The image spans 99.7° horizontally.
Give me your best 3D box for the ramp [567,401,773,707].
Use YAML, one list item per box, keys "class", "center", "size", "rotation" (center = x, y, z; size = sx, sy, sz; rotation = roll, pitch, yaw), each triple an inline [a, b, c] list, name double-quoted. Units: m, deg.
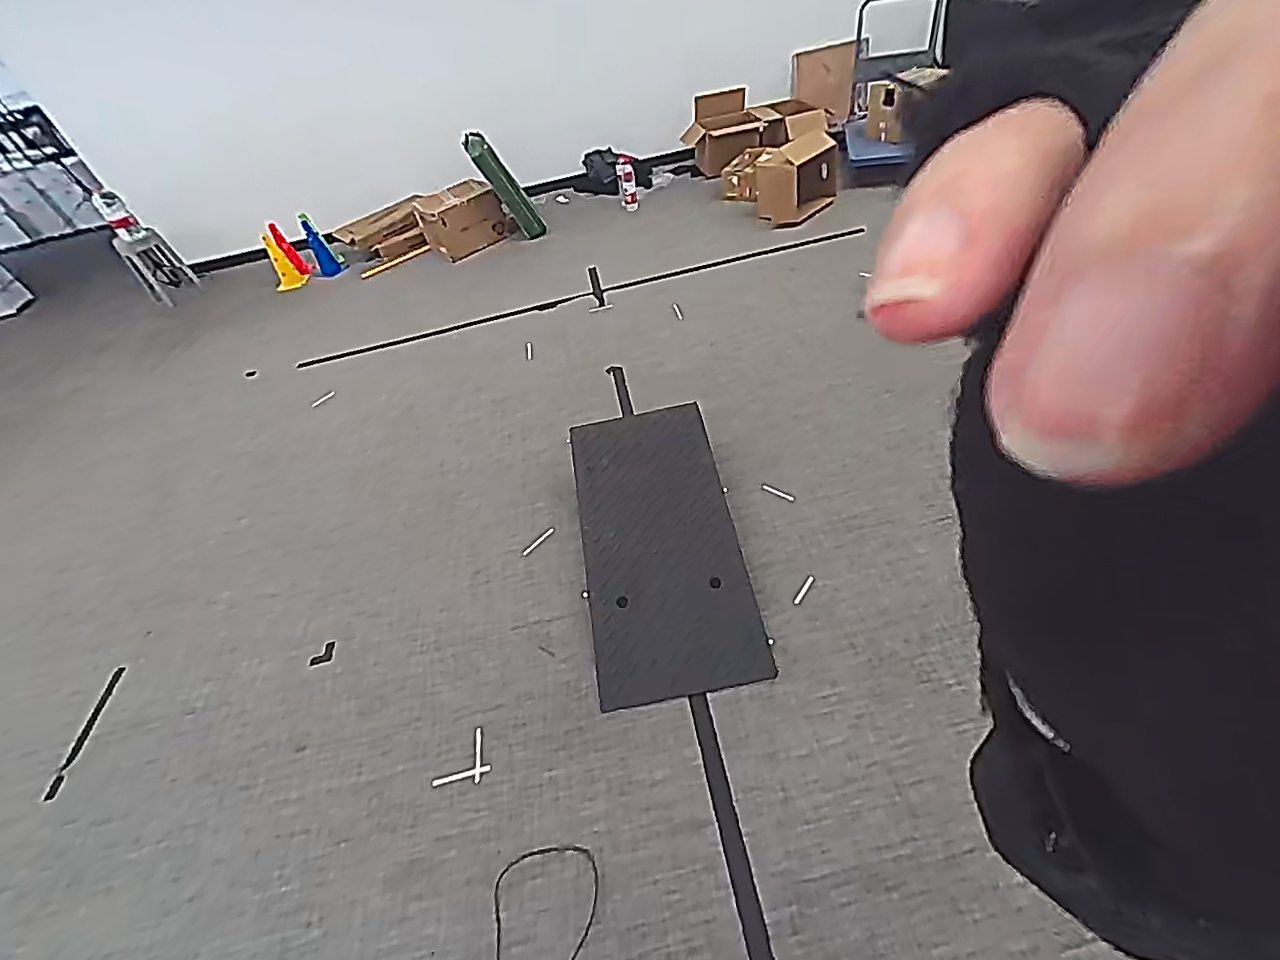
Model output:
- class: "ramp"
  center: [0.049, 0.165, 1.742]
  size: [0.509, 0.206, 0.991]
  rotation: [-13, 46, -1]
